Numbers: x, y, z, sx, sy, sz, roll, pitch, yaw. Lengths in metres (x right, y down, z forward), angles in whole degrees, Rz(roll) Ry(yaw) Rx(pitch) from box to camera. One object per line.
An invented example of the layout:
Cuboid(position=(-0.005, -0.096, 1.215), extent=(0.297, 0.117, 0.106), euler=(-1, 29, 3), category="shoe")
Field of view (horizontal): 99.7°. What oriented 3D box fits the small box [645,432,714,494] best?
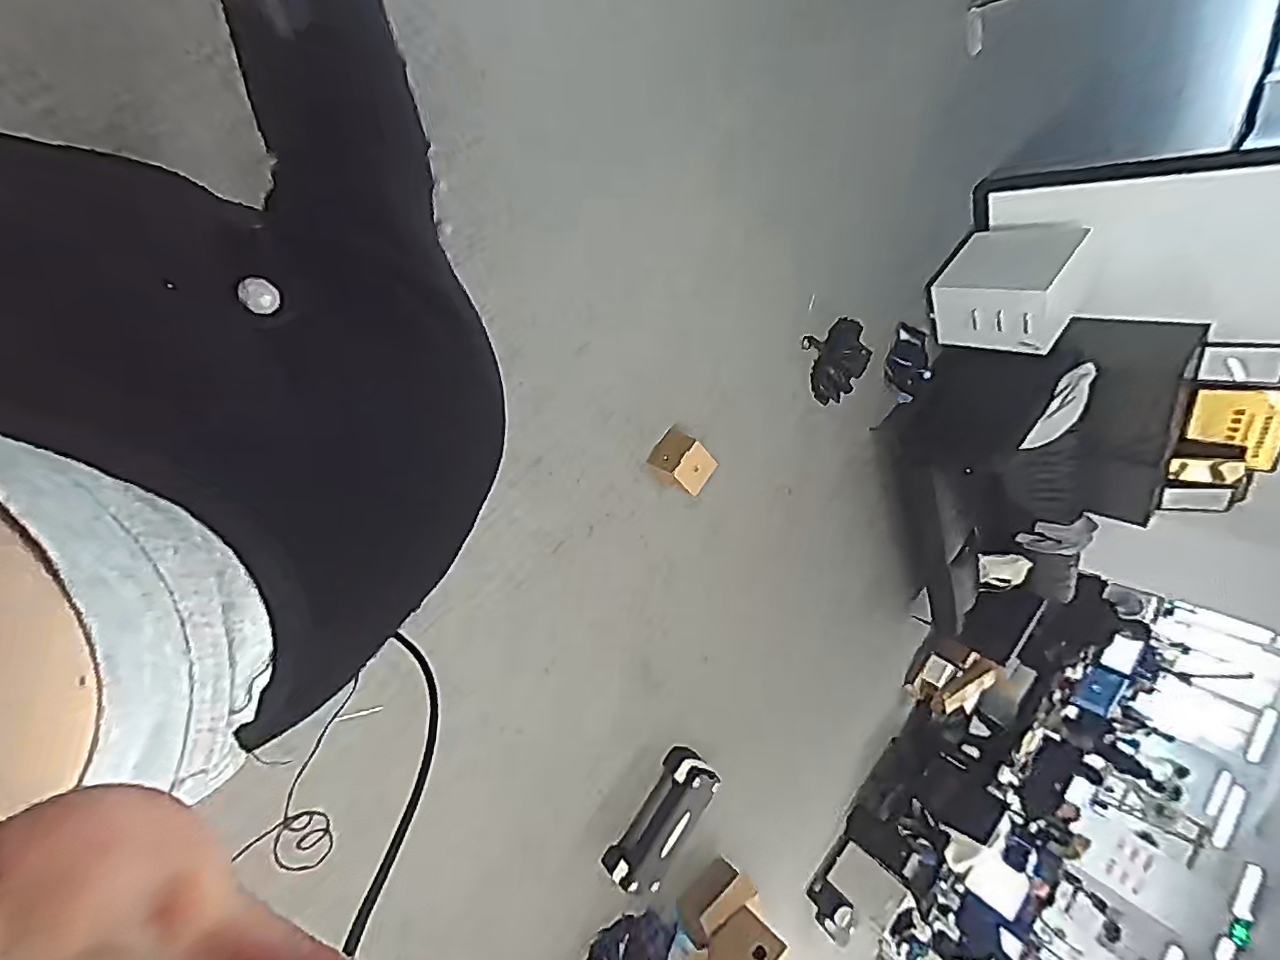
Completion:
Cuboid(position=(0.153, -0.074, 2.137), extent=(0.168, 0.176, 0.179), euler=(-54, 134, -8), category="small box")
